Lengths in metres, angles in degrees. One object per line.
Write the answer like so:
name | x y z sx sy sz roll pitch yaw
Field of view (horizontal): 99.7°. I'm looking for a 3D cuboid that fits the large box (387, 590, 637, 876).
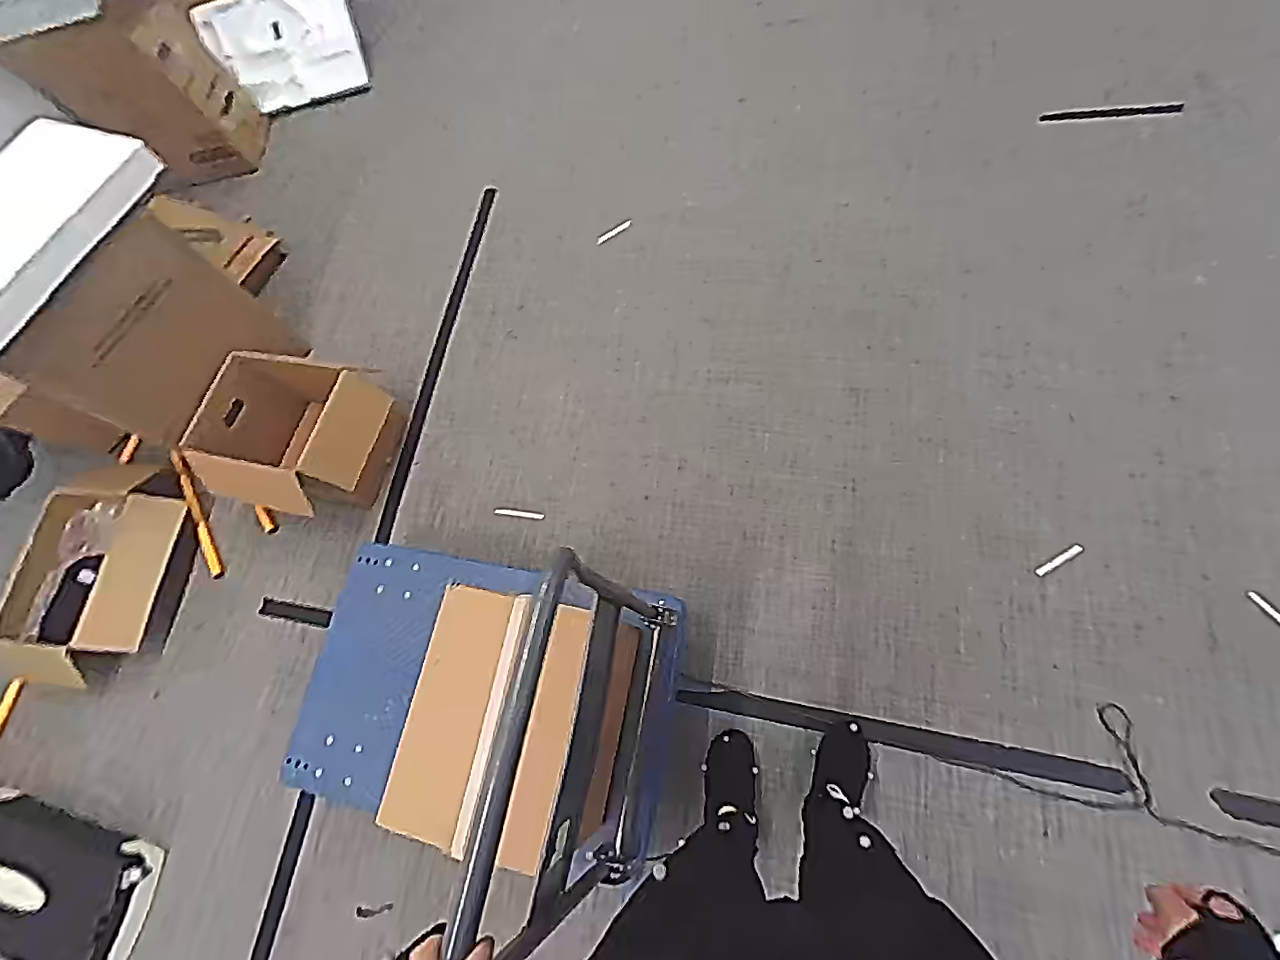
large box | -0.212 0.459 1.054 0.320 0.320 0.408 6 71 14
